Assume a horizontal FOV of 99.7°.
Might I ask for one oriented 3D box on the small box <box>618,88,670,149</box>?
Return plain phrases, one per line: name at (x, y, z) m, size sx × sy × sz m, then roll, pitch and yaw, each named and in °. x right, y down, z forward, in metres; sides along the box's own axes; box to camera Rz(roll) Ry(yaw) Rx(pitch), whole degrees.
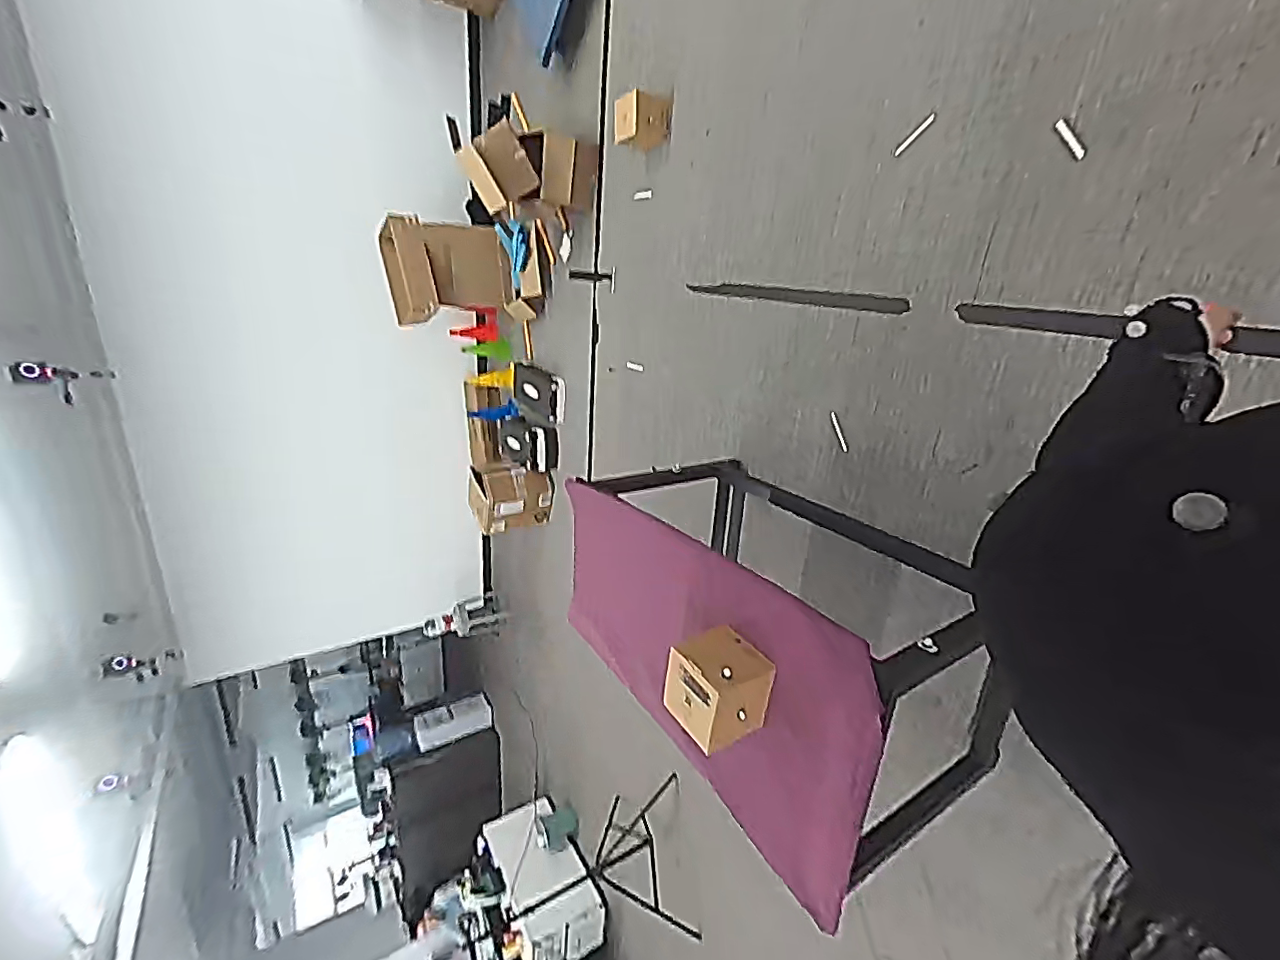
small box at (0.020, -1.573, 2.360) m, size 0.179 × 0.176 × 0.168 m, roll 21°, pitch 115°, yaw 55°
